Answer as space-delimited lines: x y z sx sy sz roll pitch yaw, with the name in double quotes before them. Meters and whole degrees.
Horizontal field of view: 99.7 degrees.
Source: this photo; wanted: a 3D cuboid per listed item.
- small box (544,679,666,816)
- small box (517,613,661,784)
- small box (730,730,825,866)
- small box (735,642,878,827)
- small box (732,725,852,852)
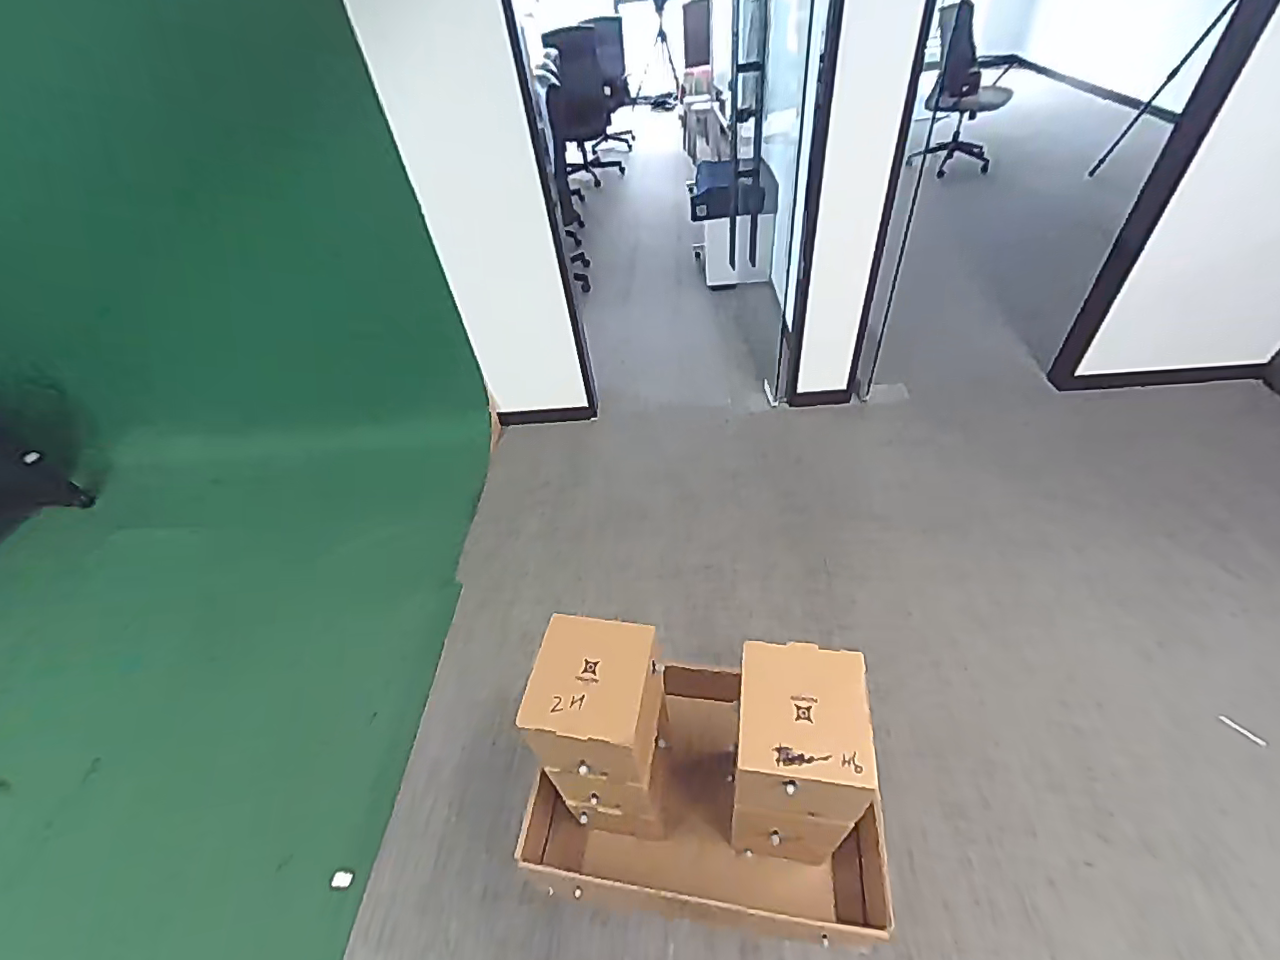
"small box" -0.048 0.451 0.938 0.168 0.176 0.179 4 46 12
"small box" -0.064 0.332 0.825 0.168 0.176 0.179 5 46 13
"small box" 0.255 0.582 0.995 0.168 0.176 0.179 4 46 12
"small box" 0.224 0.355 0.761 0.168 0.176 0.179 3 46 12
"small box" 0.239 0.471 0.877 0.168 0.176 0.179 3 47 12
